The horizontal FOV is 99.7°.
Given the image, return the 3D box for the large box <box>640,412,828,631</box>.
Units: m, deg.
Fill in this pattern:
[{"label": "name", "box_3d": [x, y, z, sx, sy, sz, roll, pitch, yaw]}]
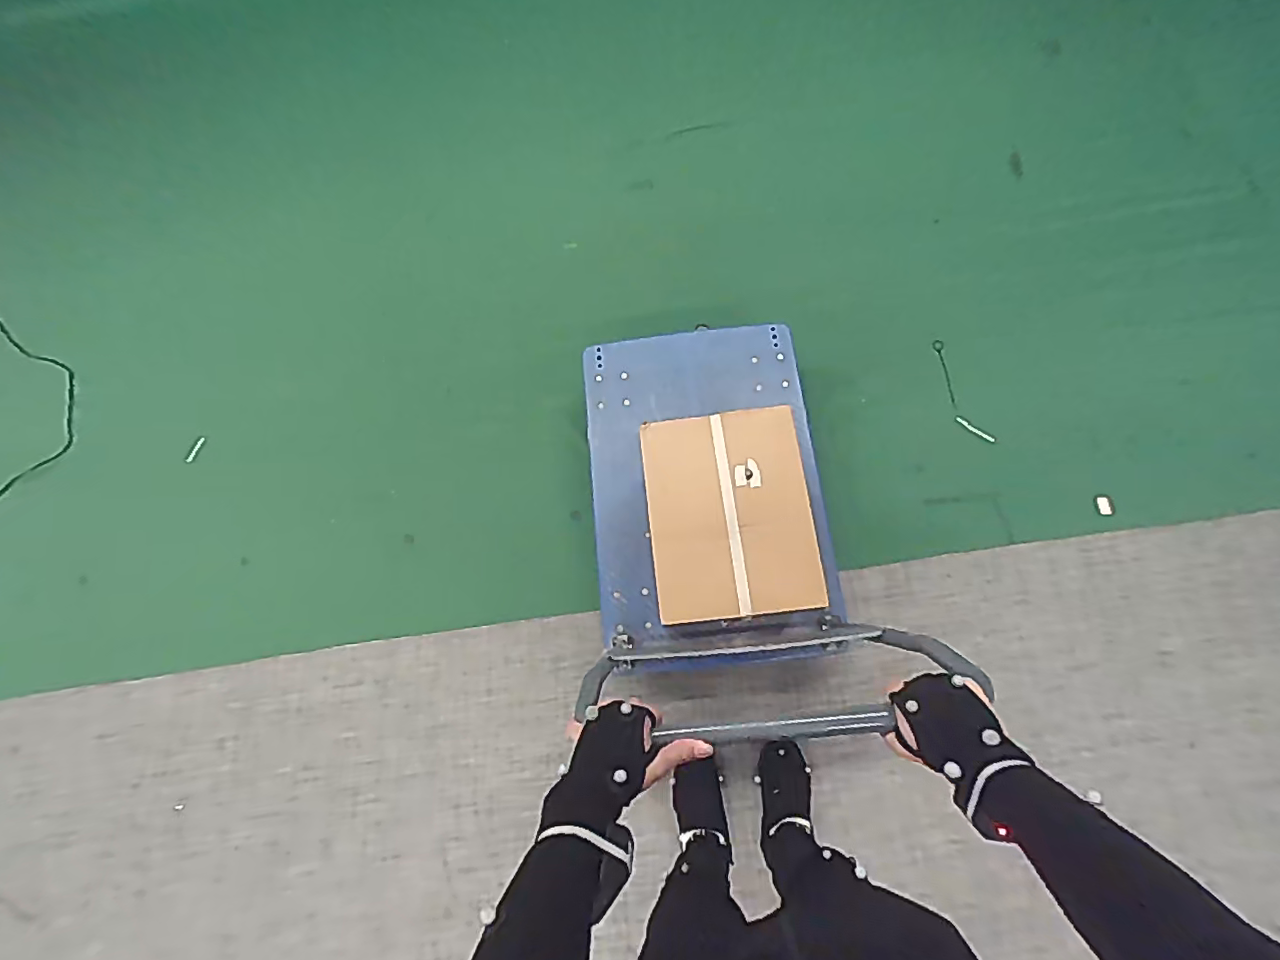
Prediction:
[{"label": "large box", "box_3d": [0.186, 0.109, 1.195, 0.320, 0.320, 0.408, -7, 73, 2]}]
